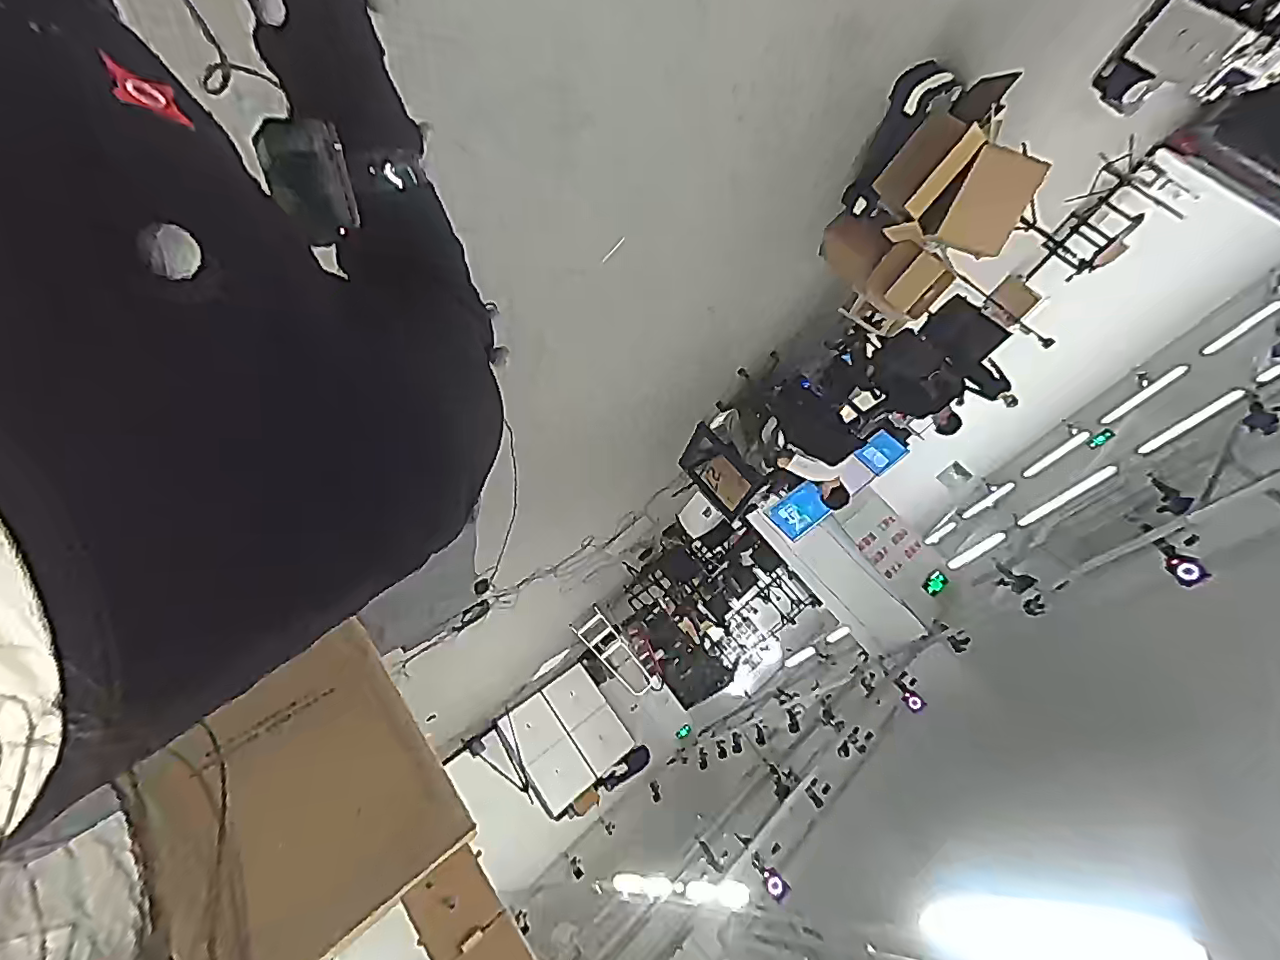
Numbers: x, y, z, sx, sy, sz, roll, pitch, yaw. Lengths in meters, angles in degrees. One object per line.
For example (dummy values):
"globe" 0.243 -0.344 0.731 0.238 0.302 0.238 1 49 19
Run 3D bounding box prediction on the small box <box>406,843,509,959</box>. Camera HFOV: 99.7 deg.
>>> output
"small box" -0.424 0.984 1.258 0.168 0.176 0.179 -31 157 -32

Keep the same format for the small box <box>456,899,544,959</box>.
"small box" -0.327 1.085 1.206 0.179 0.176 0.168 -32 159 -32
